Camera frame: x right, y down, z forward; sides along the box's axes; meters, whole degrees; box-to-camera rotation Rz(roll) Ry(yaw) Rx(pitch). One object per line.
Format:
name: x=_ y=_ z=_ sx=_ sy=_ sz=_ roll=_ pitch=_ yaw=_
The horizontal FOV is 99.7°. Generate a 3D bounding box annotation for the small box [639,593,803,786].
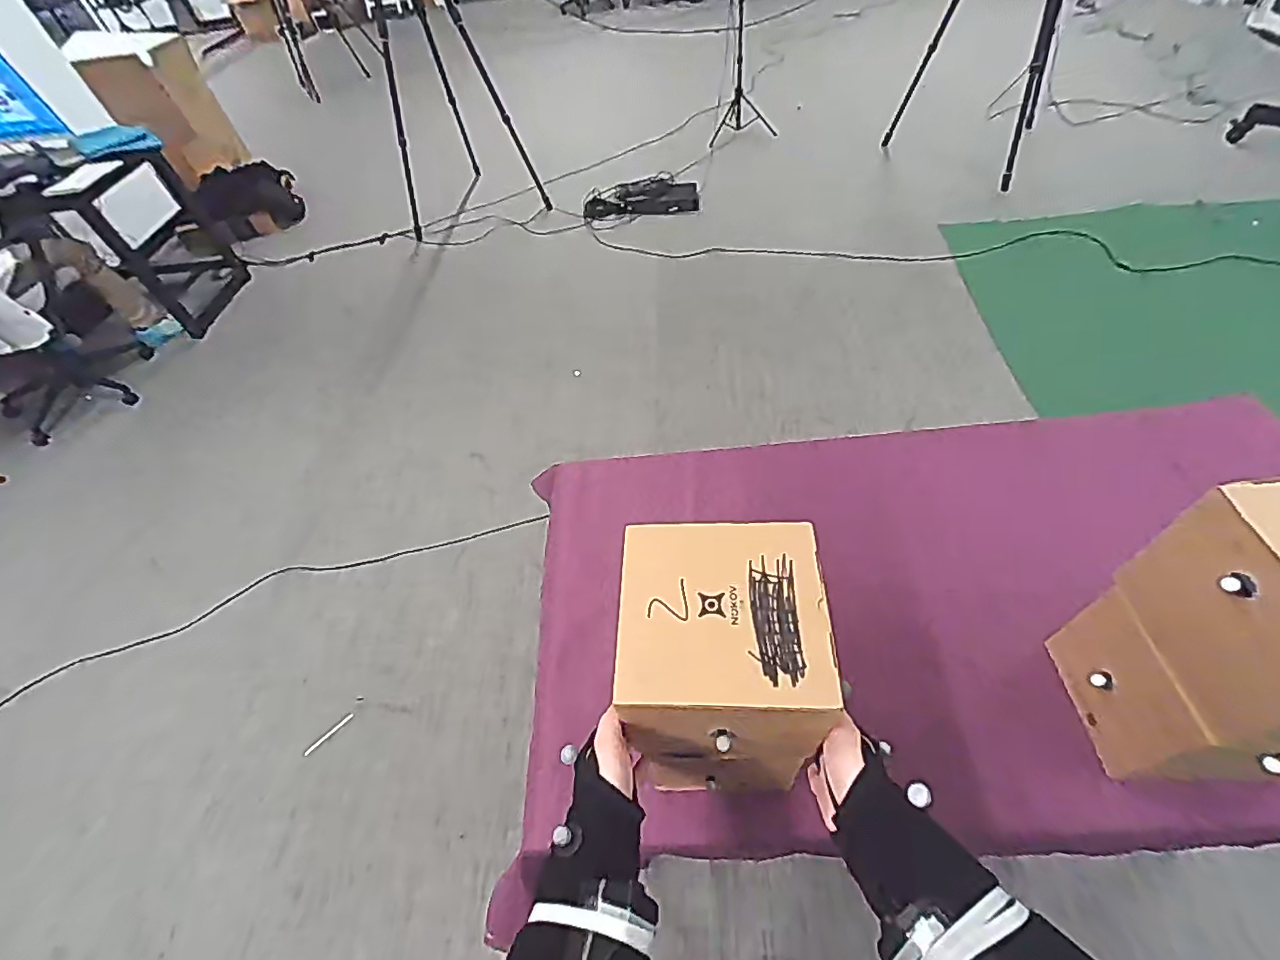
small box: x=0.089 y=0.255 z=0.651 sx=0.168 sy=0.176 sz=0.179 roll=-4 pitch=52 yaw=5

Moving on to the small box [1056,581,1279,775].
small box: x=0.607 y=0.219 z=0.597 sx=0.179 sy=0.176 sz=0.168 roll=-4 pitch=51 yaw=6

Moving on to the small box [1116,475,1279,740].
small box: x=0.586 y=0.110 z=0.475 sx=0.168 sy=0.176 sz=0.179 roll=-6 pitch=51 yaw=5
